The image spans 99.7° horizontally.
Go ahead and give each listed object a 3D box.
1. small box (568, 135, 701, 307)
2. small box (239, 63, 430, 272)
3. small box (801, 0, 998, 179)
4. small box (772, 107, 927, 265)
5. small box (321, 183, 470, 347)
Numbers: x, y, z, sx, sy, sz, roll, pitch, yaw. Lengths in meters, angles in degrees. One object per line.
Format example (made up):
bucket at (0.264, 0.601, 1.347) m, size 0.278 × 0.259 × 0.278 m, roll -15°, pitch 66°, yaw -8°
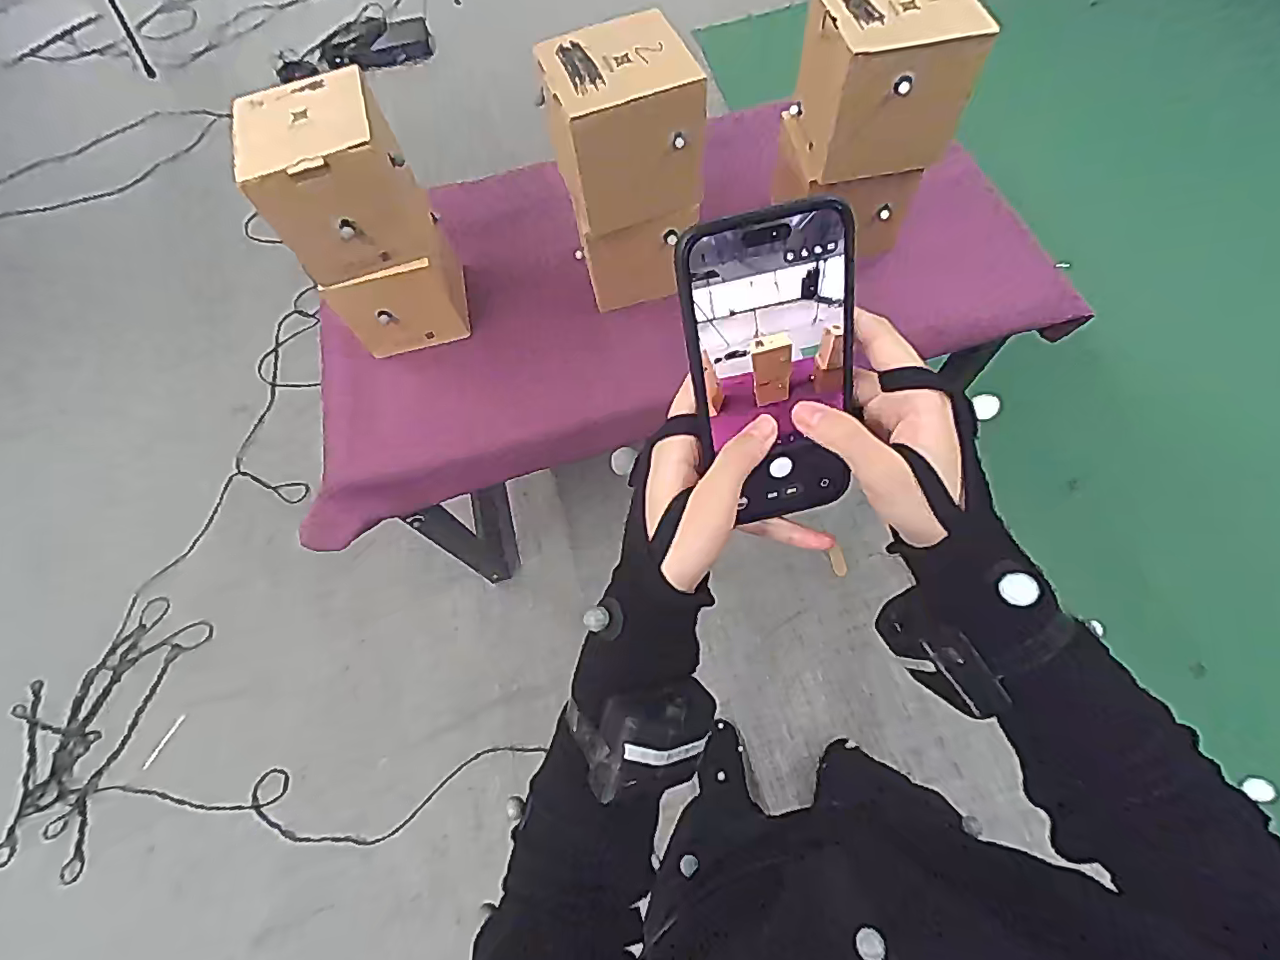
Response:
small box at (-0.006, -0.414, 0.882) m, size 0.179 × 0.176 × 0.168 m, roll -14°, pitch 66°, yaw -1°
small box at (-0.406, -0.413, 0.740) m, size 0.168 × 0.176 × 0.179 m, roll -18°, pitch 67°, yaw -3°
small box at (0.325, -0.536, 0.727) m, size 0.179 × 0.176 × 0.168 m, roll -8°, pitch 66°, yaw 1°
small box at (0.327, -0.482, 0.882) m, size 0.179 × 0.176 × 0.168 m, roll -8°, pitch 65°, yaw 2°
small box at (-0.390, -0.340, 0.887) m, size 0.168 × 0.176 × 0.179 m, roll -13°, pitch 66°, yaw 0°
